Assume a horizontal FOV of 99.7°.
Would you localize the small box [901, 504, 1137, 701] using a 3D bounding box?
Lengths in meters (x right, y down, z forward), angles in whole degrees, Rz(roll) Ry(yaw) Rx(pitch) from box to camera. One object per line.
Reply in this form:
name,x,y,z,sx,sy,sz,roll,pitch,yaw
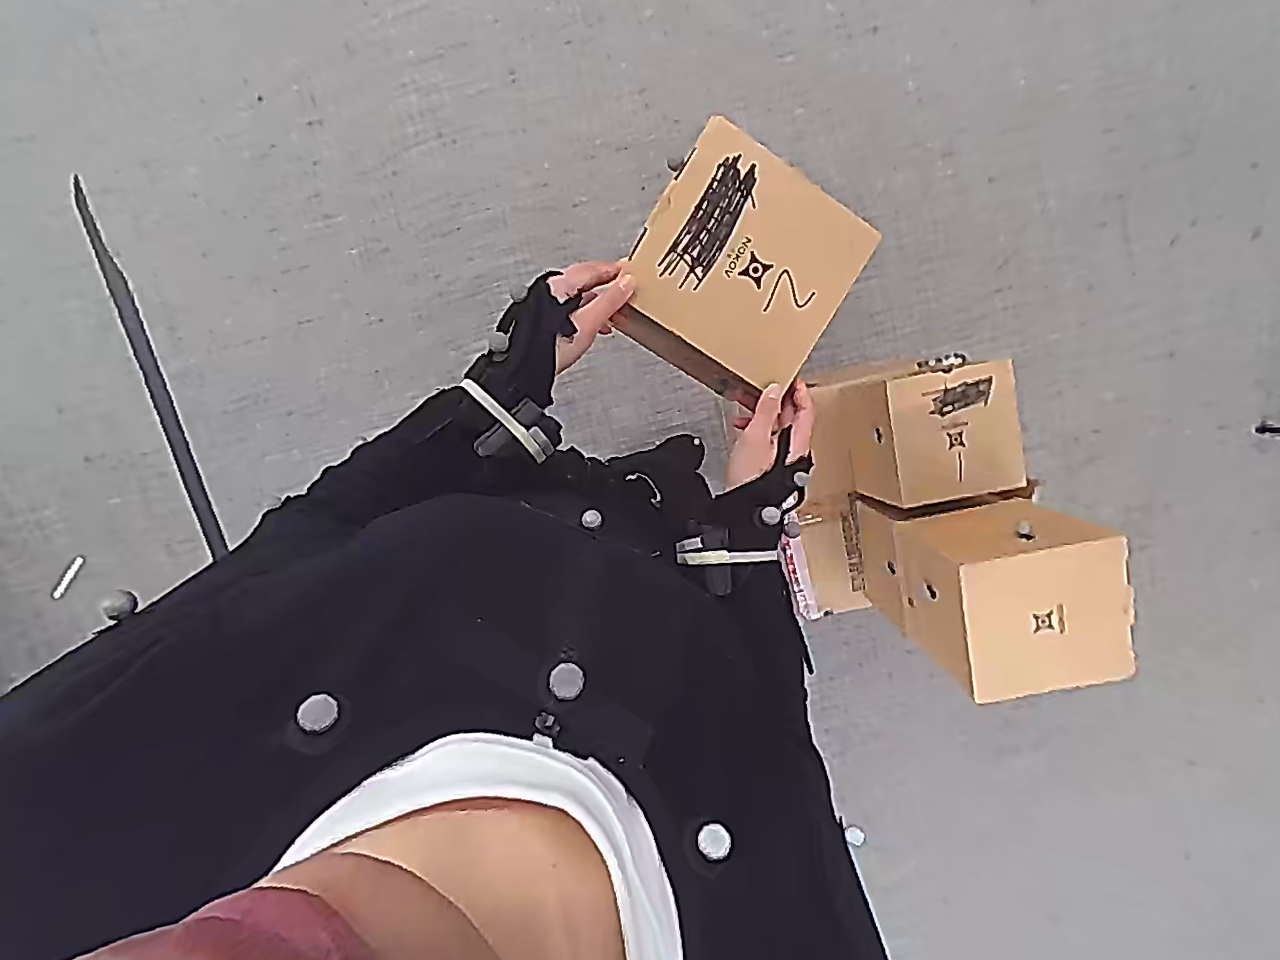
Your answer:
small box,0.439,0.137,0.657,0.179,0.176,0.168,-12,99,3
